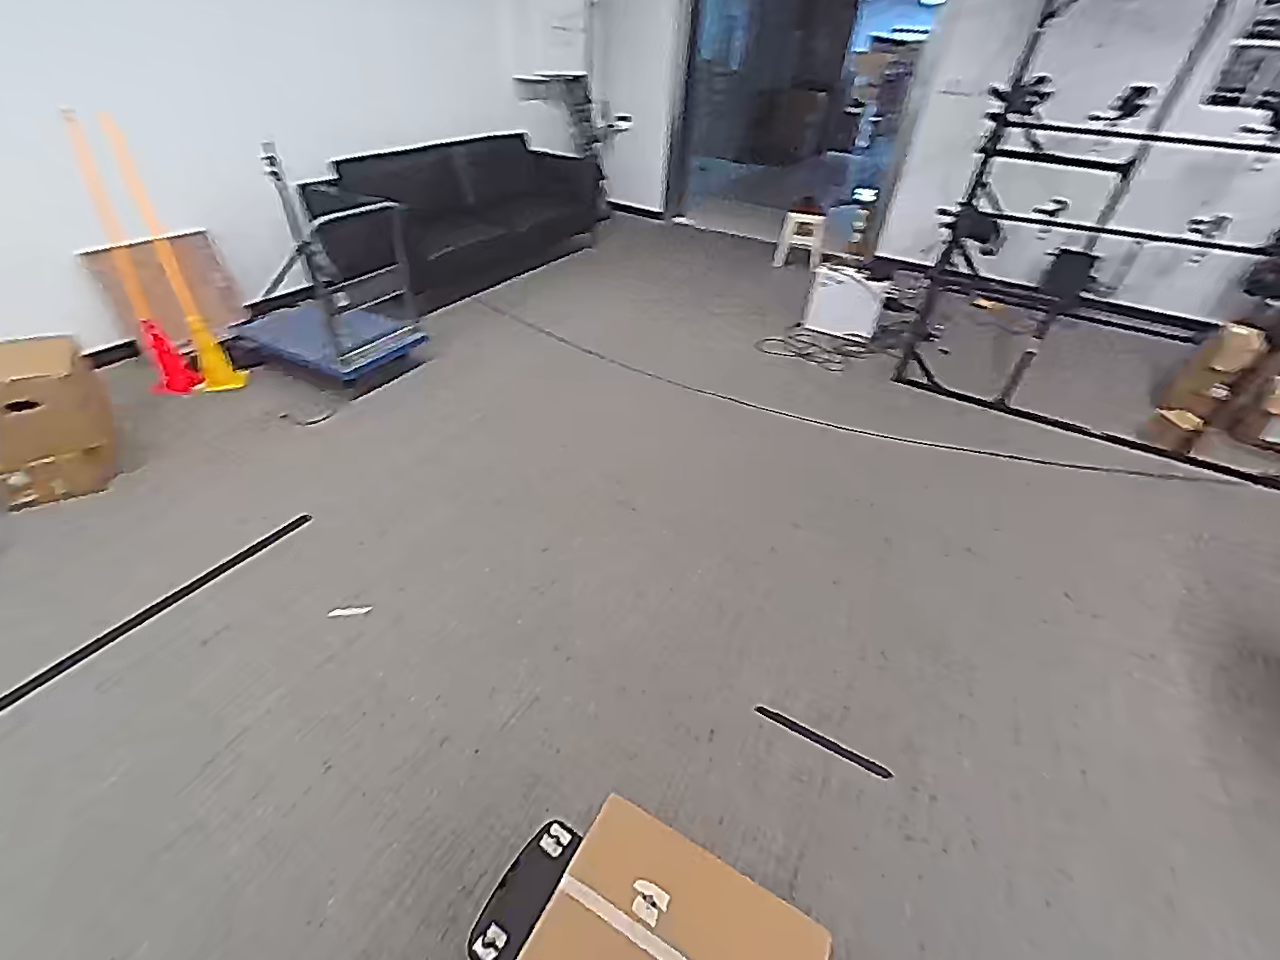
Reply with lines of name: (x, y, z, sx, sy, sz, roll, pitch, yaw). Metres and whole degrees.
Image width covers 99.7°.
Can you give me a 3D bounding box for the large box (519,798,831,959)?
large box: (0.043, 0.823, 0.878, 0.408, 0.320, 0.320, 21, 41, 22)
